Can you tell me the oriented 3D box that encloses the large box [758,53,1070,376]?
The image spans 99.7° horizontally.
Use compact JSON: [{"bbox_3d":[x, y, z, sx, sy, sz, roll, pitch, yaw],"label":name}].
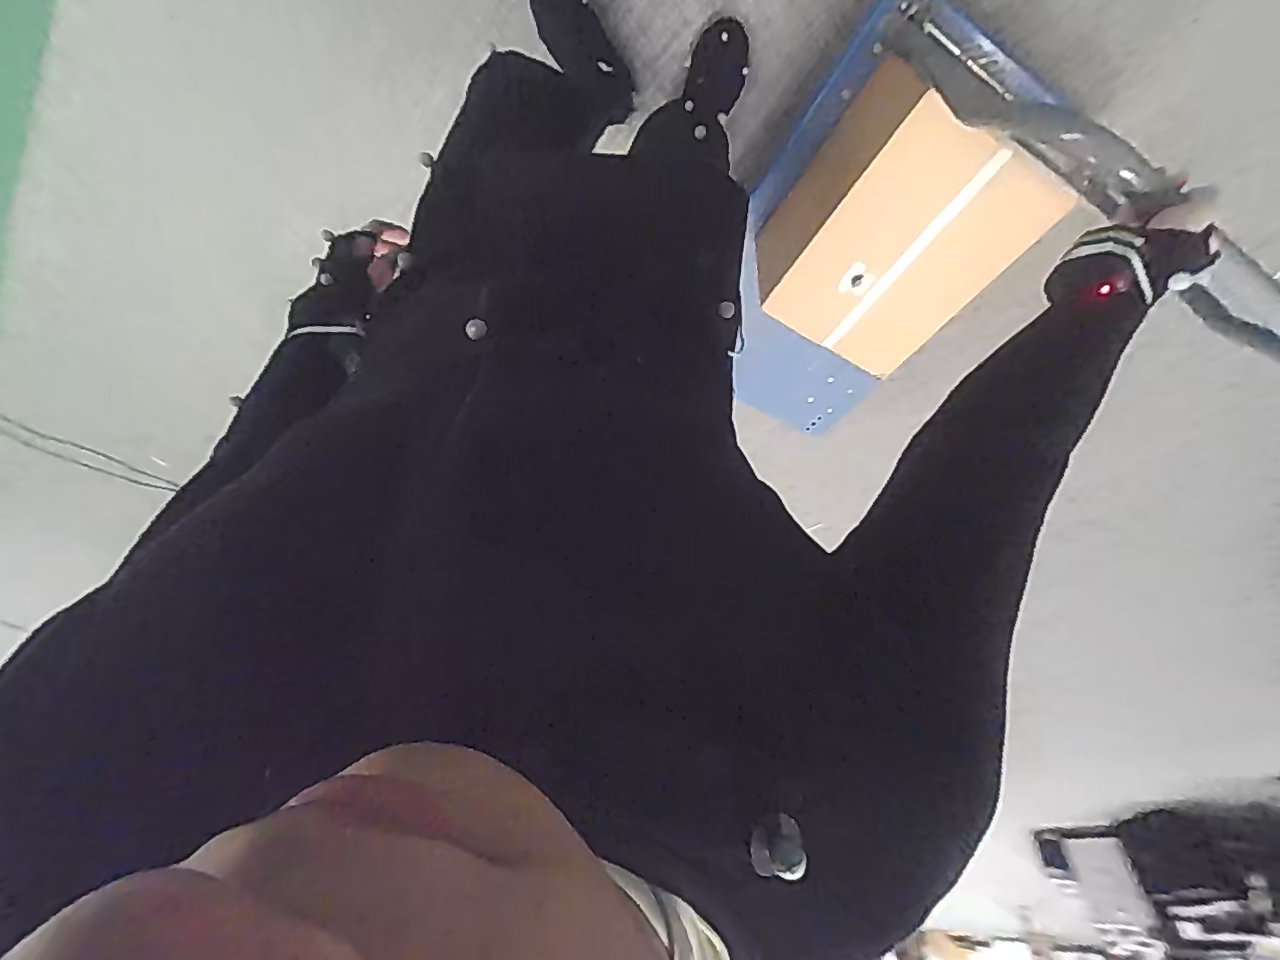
[{"bbox_3d":[0.472,-0.492,1.040,0.320,0.320,0.408,25,135,-15],"label":"large box"}]
